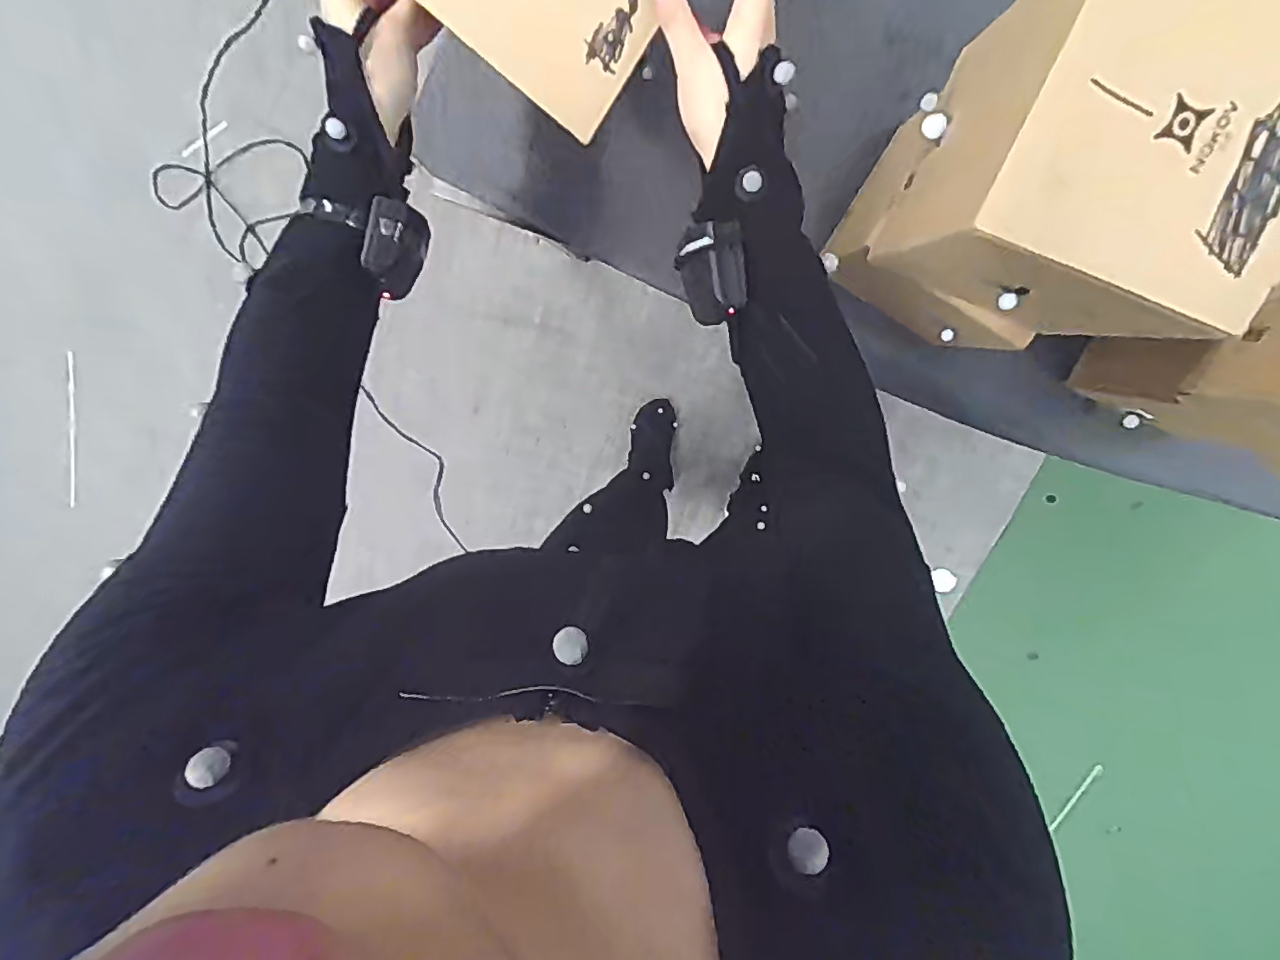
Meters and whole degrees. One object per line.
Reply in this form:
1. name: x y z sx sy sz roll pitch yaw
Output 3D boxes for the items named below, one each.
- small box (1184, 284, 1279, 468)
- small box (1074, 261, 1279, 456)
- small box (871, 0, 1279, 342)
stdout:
1. small box: 0.586 -0.075 0.391 0.179 0.176 0.168 31 105 -4
2. small box: 0.600 -0.132 0.543 0.168 0.176 0.179 21 106 -2
3. small box: 0.296 -0.206 0.367 0.179 0.176 0.168 21 106 -3
